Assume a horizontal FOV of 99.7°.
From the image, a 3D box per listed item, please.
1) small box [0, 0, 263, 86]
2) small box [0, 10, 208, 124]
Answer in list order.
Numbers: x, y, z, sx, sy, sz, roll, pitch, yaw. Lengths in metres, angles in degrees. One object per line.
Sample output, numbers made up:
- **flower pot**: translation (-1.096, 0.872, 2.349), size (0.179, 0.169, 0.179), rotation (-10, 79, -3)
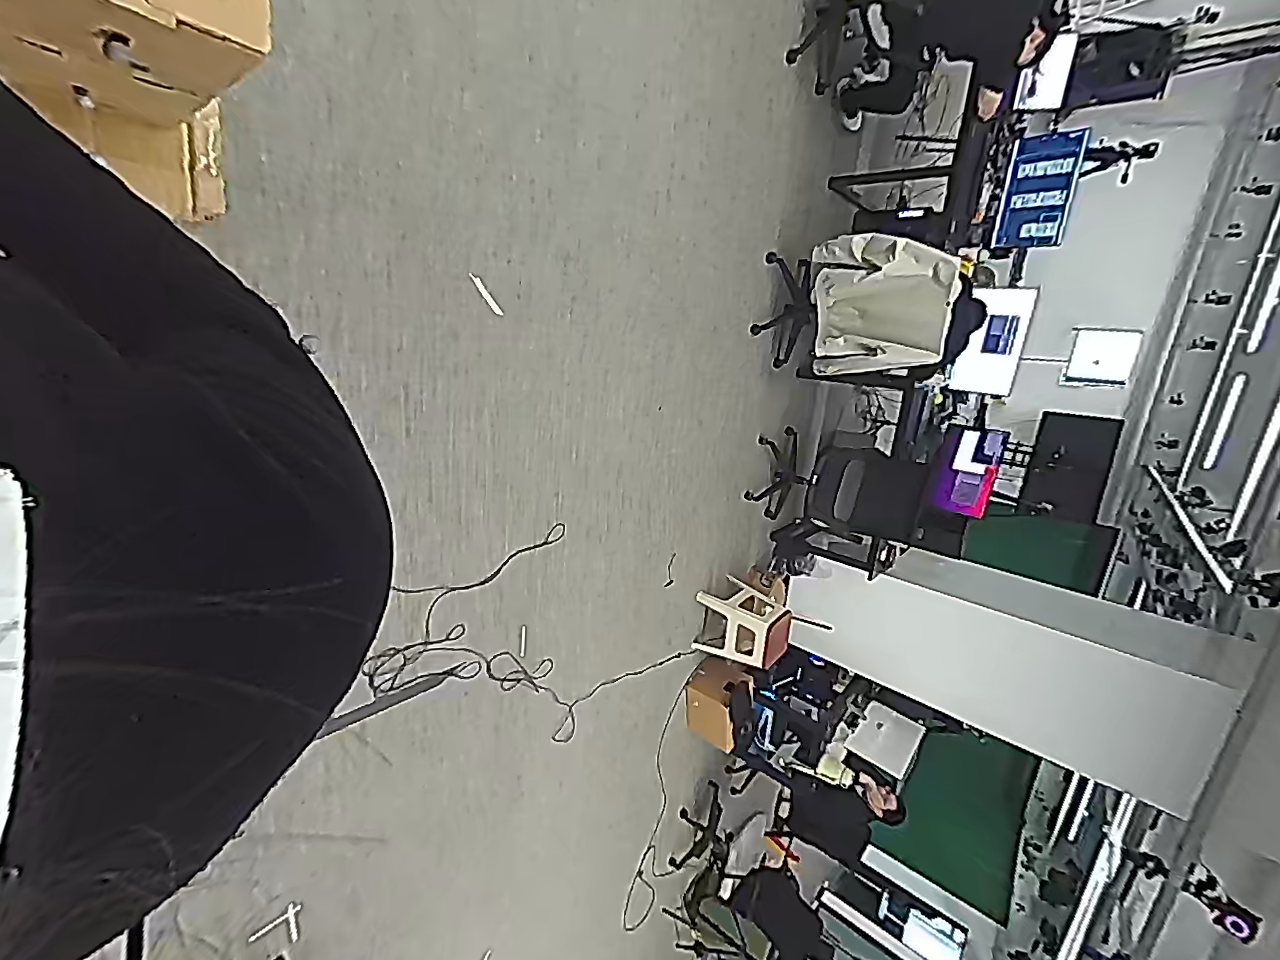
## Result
- **small box**: translation (-0.408, -0.439, 0.410), size (0.168, 0.176, 0.179), rotation (-8, 111, -50)
- **small box**: translation (-0.536, -0.472, 0.509), size (0.168, 0.176, 0.179), rotation (-10, 112, -48)
